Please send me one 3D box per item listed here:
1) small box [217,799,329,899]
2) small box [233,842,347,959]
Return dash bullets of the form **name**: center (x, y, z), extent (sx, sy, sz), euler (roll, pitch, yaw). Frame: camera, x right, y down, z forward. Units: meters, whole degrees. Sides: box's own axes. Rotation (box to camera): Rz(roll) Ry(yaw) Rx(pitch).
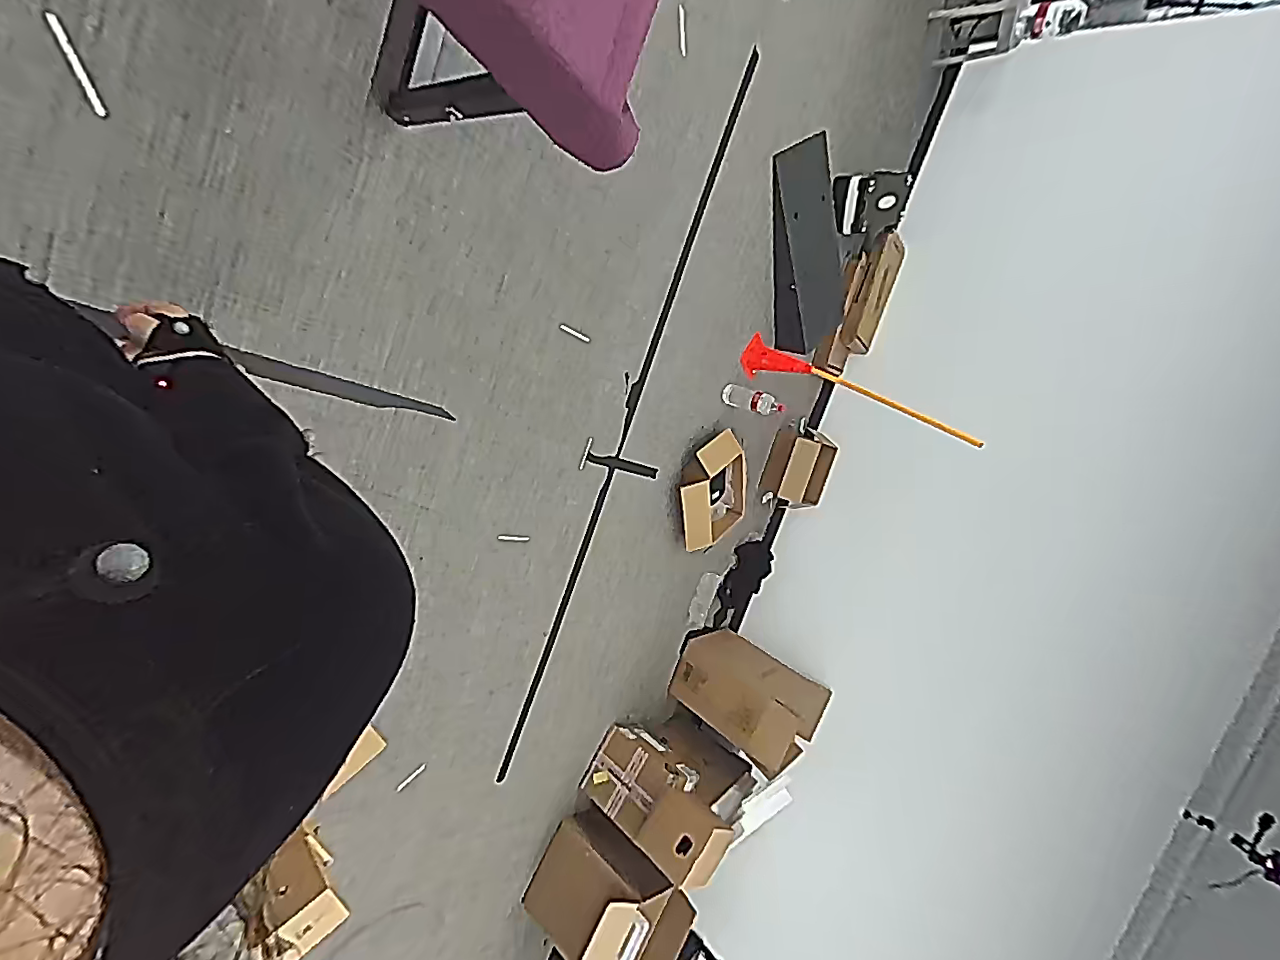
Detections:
- **small box**: center (-0.977, 1.002, 1.442), extent (0.179, 0.176, 0.168), euler (-33, 134, -35)
- **small box**: center (-0.866, 1.055, 1.331), extent (0.179, 0.176, 0.168), euler (-31, 133, -37)
